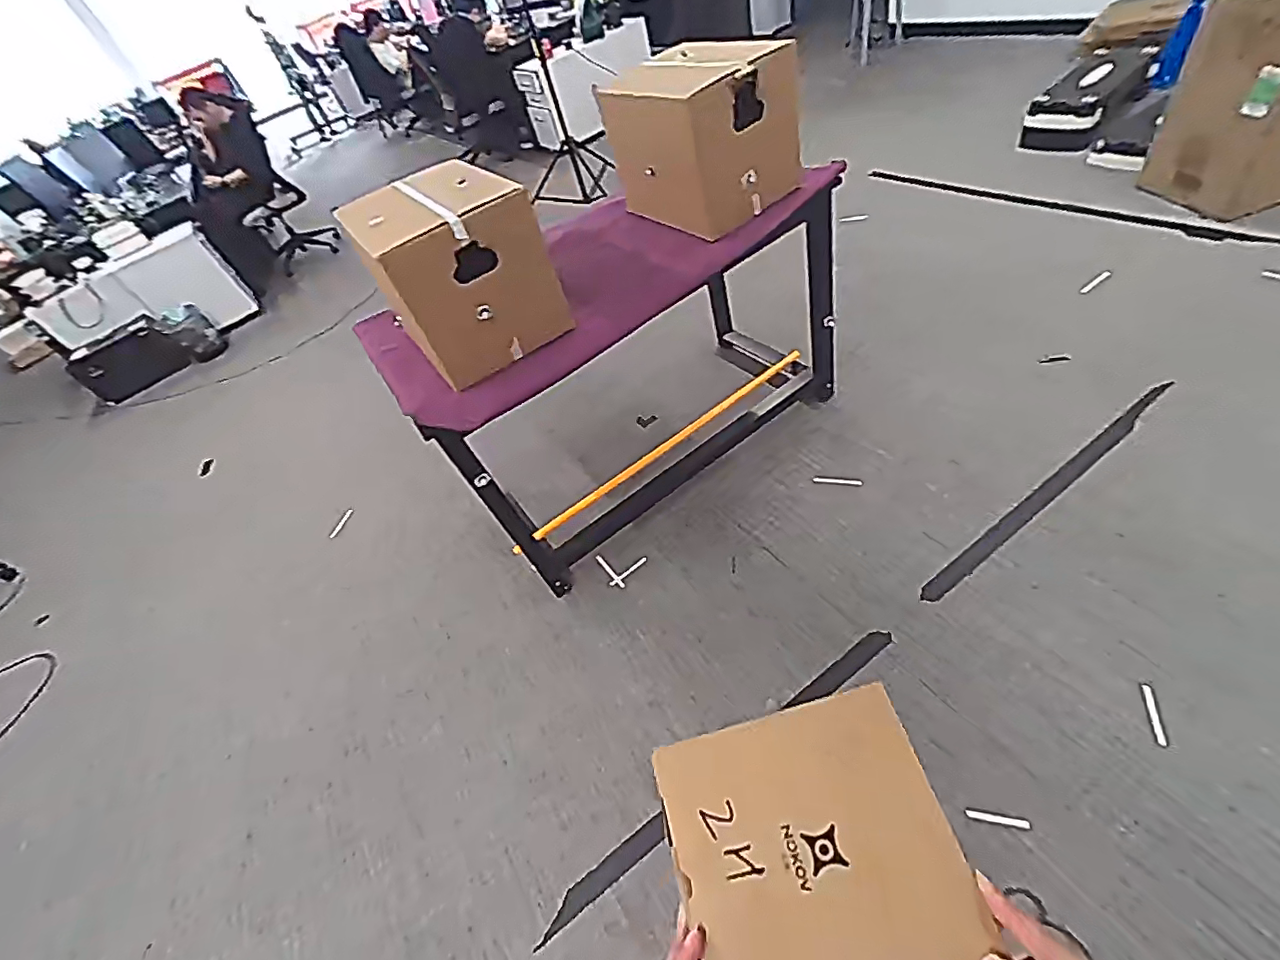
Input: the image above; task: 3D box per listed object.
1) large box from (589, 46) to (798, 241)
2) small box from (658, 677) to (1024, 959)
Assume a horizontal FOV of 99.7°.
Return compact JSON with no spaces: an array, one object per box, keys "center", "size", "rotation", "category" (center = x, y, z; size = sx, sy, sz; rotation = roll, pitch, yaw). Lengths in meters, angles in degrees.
[{"center":[0.141,-0.856,1.379],"size":[0.320,0.320,0.408],"rotation":[-35,47,-14],"category":"large box"},{"center":[0.127,0.266,0.406],"size":[0.179,0.176,0.168],"rotation":[-18,57,3],"category":"small box"}]
